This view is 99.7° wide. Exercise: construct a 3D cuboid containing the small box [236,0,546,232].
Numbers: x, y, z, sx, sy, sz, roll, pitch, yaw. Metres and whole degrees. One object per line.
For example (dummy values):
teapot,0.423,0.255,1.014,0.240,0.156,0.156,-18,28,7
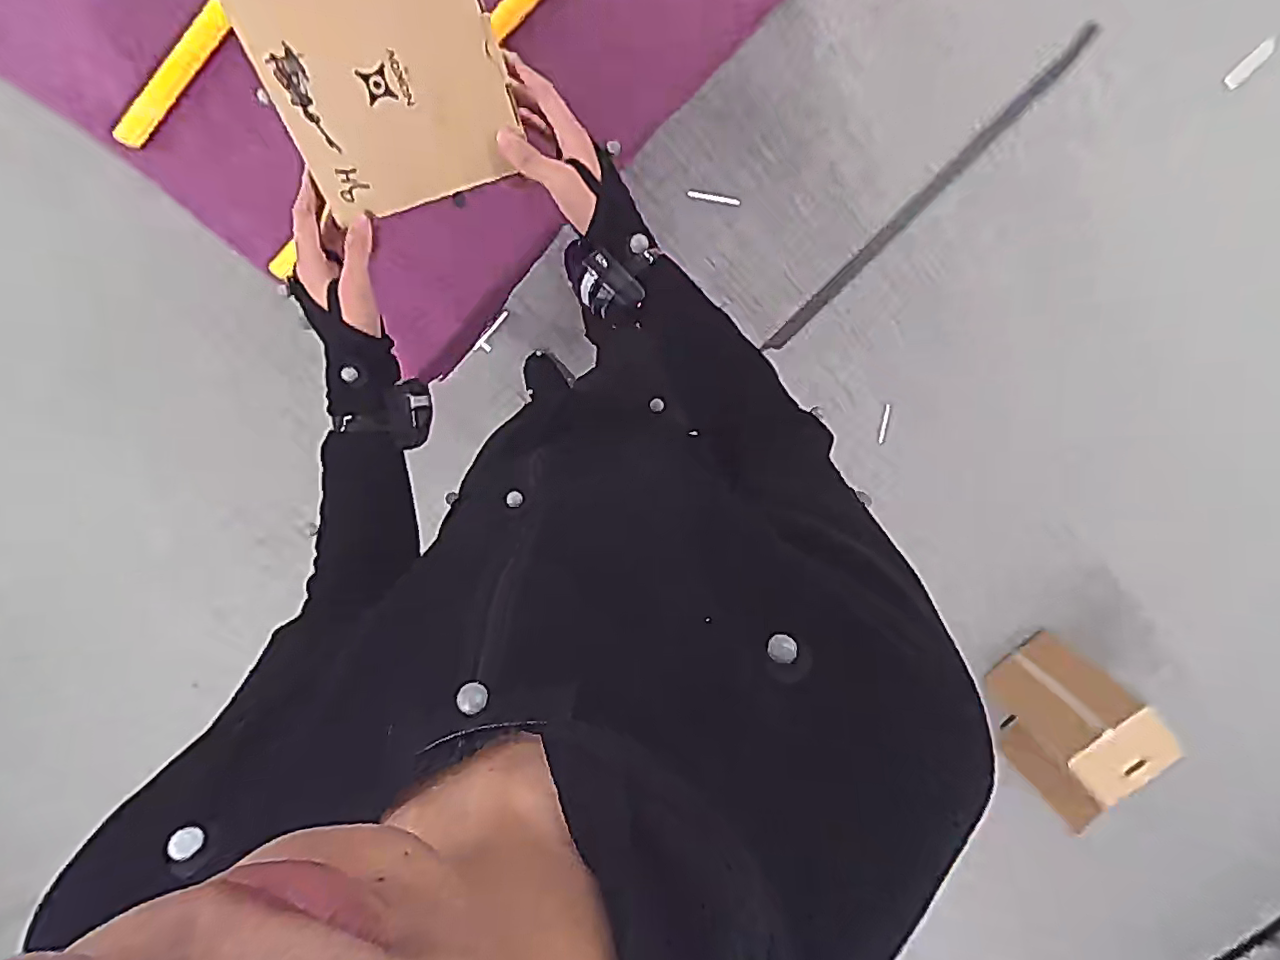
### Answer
small box,-0.195,-0.341,0.481,0.179,0.176,0.168,-17,123,-1
